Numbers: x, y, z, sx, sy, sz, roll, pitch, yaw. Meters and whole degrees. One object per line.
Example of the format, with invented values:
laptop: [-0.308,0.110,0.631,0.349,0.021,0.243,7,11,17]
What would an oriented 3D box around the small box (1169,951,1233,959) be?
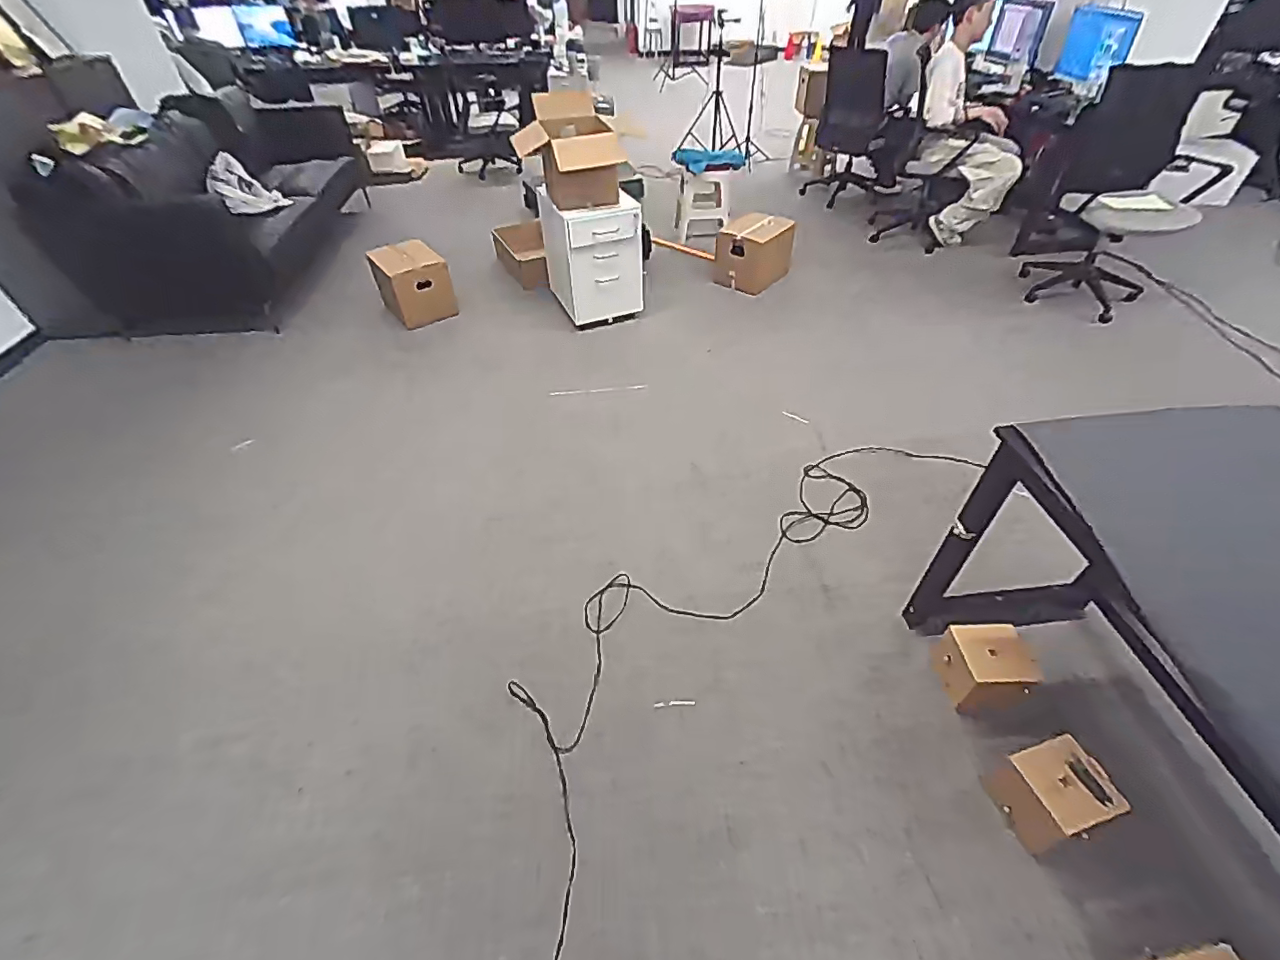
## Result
small box: [1.006,0.987,0.980,0.179,0.176,0.168,-8,45,-7]

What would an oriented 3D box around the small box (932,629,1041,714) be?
small box: [0.925,0.523,1.470,0.179,0.176,0.168,-1,44,0]
